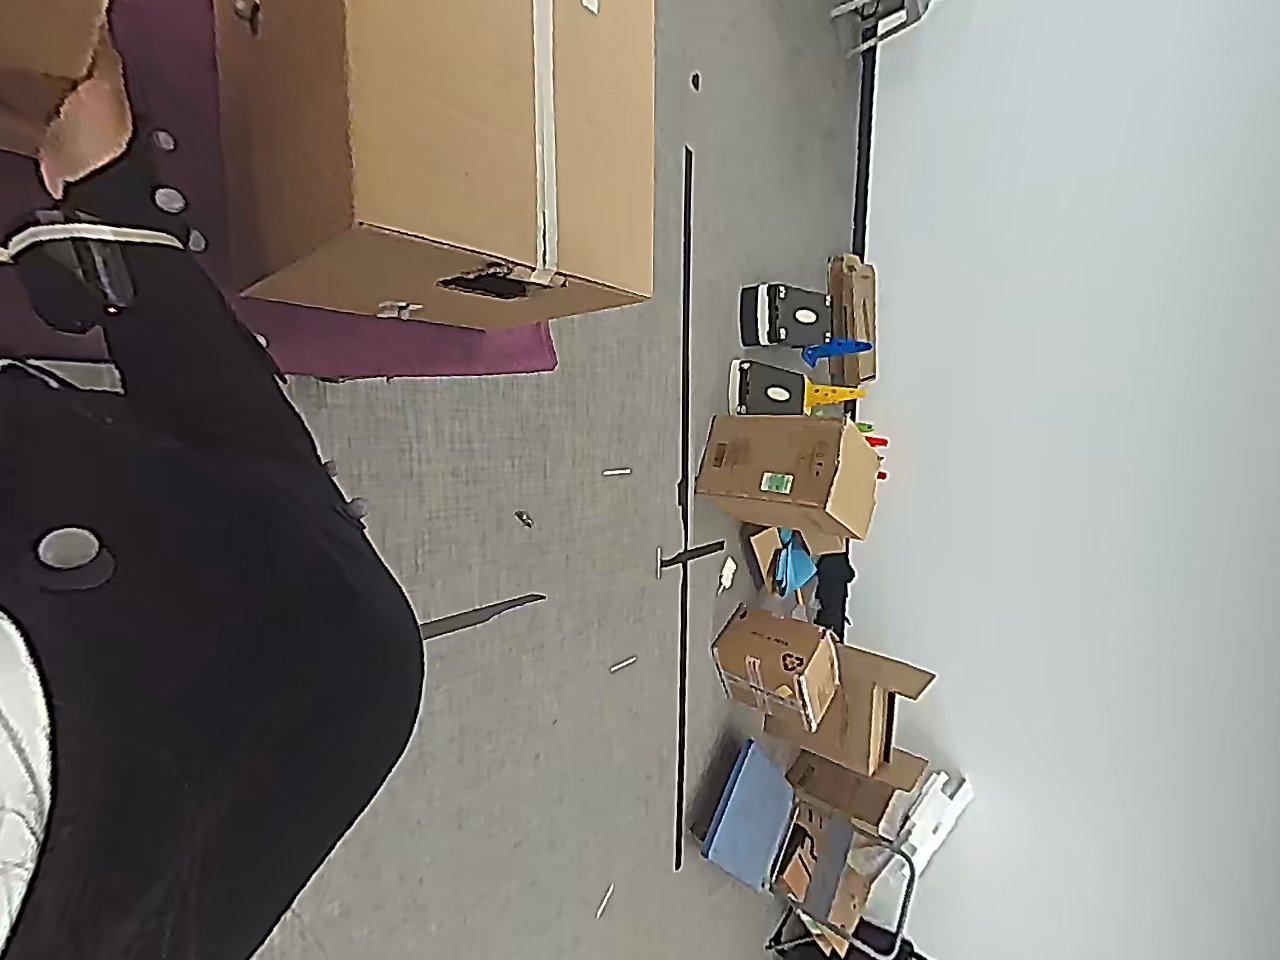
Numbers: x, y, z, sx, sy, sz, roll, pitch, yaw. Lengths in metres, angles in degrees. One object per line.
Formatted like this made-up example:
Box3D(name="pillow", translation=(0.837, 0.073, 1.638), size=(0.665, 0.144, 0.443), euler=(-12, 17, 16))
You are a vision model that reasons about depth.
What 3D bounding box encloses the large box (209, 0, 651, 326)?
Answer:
Box3D(name="large box", translation=(-0.205, -0.391, 0.548), size=(0.320, 0.320, 0.408), euler=(-8, 100, -50))
